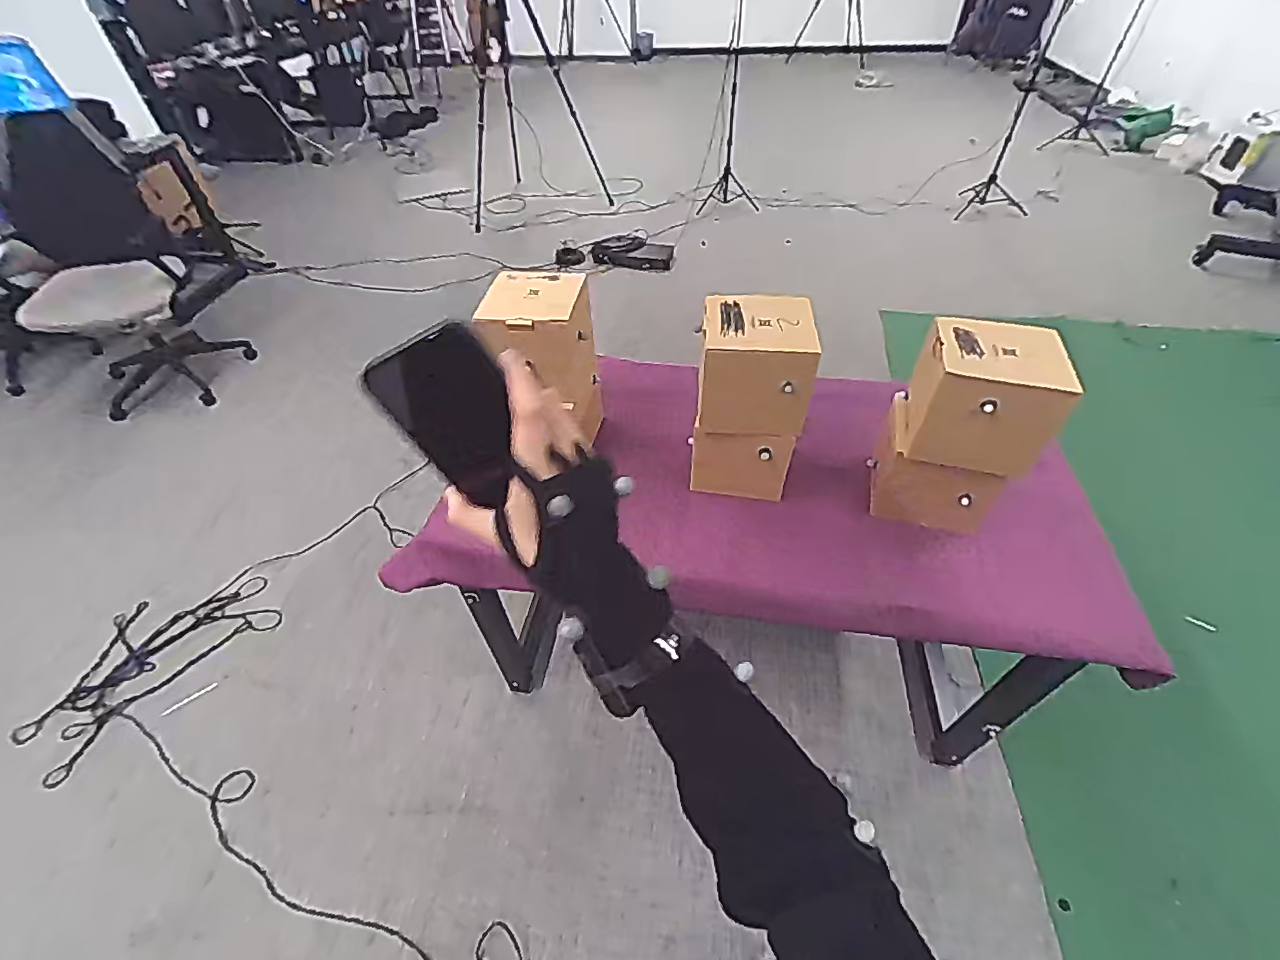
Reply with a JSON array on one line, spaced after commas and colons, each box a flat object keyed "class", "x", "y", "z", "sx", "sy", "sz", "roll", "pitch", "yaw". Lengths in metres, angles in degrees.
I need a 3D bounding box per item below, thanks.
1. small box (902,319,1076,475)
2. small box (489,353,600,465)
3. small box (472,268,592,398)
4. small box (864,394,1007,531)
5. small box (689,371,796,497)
[{"class": "small box", "x": 0.526, "y": -0.128, "z": 0.849, "sx": 0.179, "sy": 0.176, "sz": 0.168, "roll": 13, "pitch": 48, "yaw": 12}, {"class": "small box", "x": -0.184, "y": -0.151, "z": 1.115, "sx": 0.168, "sy": 0.176, "sz": 0.179, "roll": 8, "pitch": 48, "yaw": 9}, {"class": "small box", "x": -0.187, "y": -0.270, "z": 1.001, "sx": 0.168, "sy": 0.176, "sz": 0.179, "roll": 5, "pitch": 48, "yaw": 5}, {"class": "small box", "x": 0.524, "y": -0.029, "z": 0.979, "sx": 0.179, "sy": 0.176, "sz": 0.168, "roll": 12, "pitch": 48, "yaw": 13}, {"class": "small box", "x": 0.194, "y": -0.085, "z": 1.040, "sx": 0.179, "sy": 0.176, "sz": 0.168, "roll": 8, "pitch": 47, "yaw": 9}]
